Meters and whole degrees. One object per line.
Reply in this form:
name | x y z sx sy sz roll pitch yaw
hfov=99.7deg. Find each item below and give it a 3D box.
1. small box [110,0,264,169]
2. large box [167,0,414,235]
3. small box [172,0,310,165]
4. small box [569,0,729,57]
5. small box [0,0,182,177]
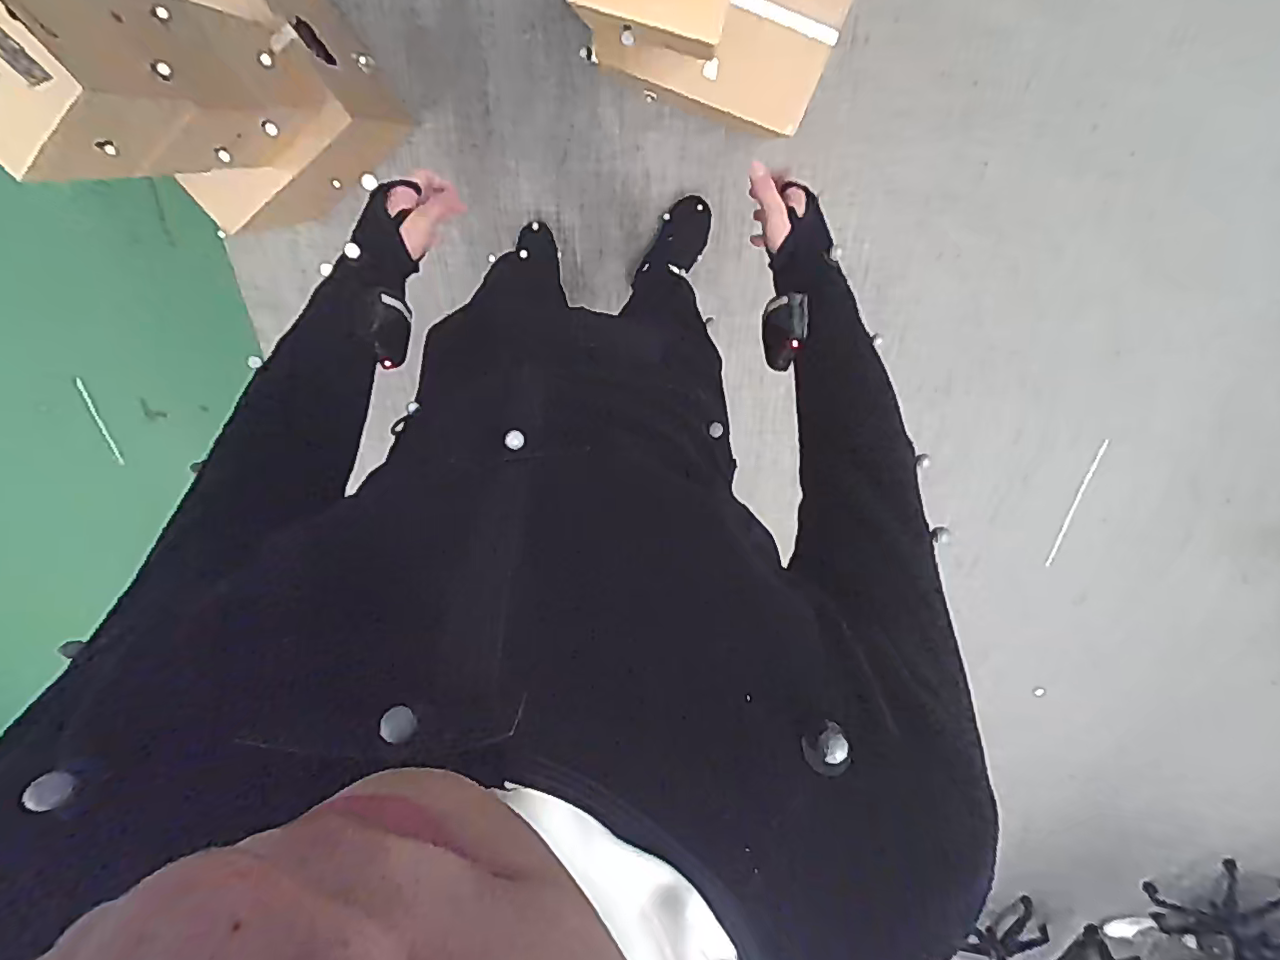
small box | -0.731 -0.599 0.813 0.168 0.176 0.179 -26 117 19
large box | -0.788 -0.804 1.172 0.408 0.320 0.320 -27 114 20
small box | -0.726 -0.687 0.950 0.179 0.176 0.168 -28 115 19
small box | 0.028 -0.584 0.576 0.168 0.176 0.179 14 121 -4
small box | -0.736 -0.512 0.674 0.179 0.176 0.168 -27 115 21
